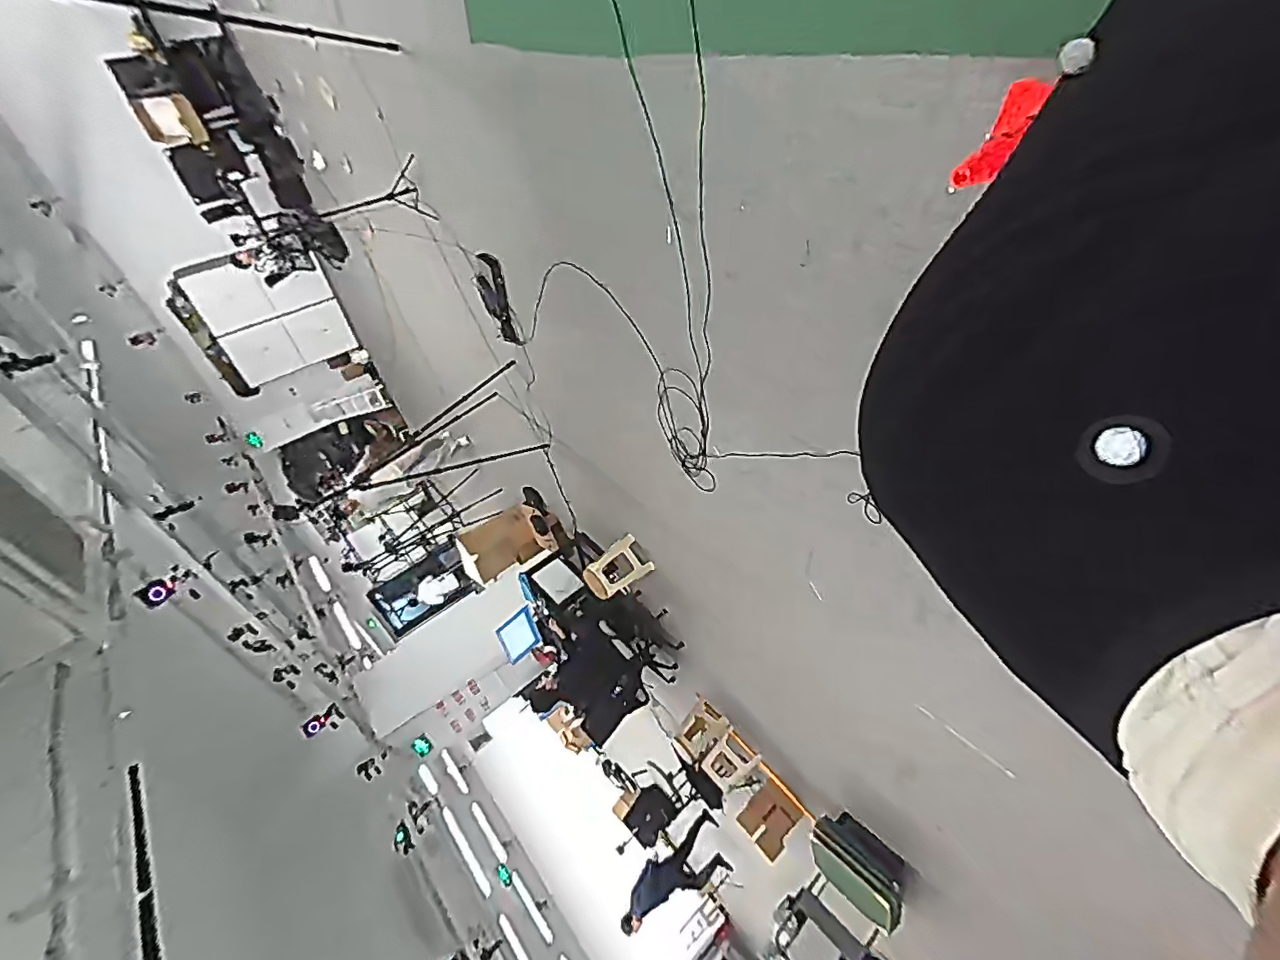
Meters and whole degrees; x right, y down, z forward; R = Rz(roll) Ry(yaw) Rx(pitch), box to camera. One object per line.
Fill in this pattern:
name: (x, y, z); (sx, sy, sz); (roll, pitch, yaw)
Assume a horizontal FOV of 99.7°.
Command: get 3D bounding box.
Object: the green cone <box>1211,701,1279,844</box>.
green cone: (1.630, 0.801, 1.414); (0.200, 0.368, 0.202); (39, 148, 31)
